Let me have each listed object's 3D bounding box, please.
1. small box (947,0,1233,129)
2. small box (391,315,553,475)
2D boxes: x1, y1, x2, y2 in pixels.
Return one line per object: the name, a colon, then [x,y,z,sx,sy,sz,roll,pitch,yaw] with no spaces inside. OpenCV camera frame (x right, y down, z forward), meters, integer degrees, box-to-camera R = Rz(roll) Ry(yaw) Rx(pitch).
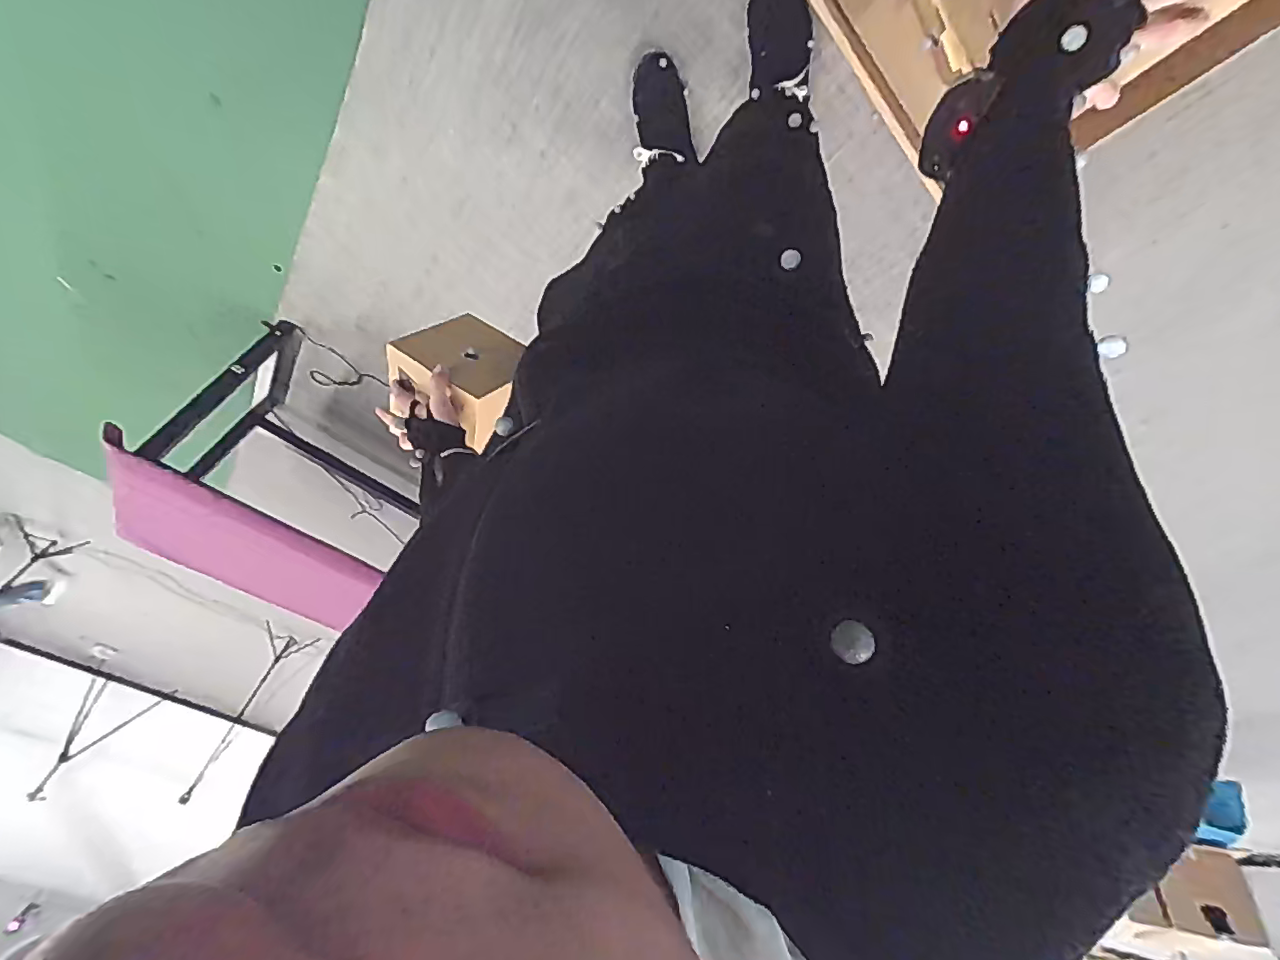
small box: [0.409,-0.483,0.507,0.179,0.176,0.168,-30,124,33]
small box: [-0.268,-0.145,0.869,0.179,0.176,0.168,30,133,12]
